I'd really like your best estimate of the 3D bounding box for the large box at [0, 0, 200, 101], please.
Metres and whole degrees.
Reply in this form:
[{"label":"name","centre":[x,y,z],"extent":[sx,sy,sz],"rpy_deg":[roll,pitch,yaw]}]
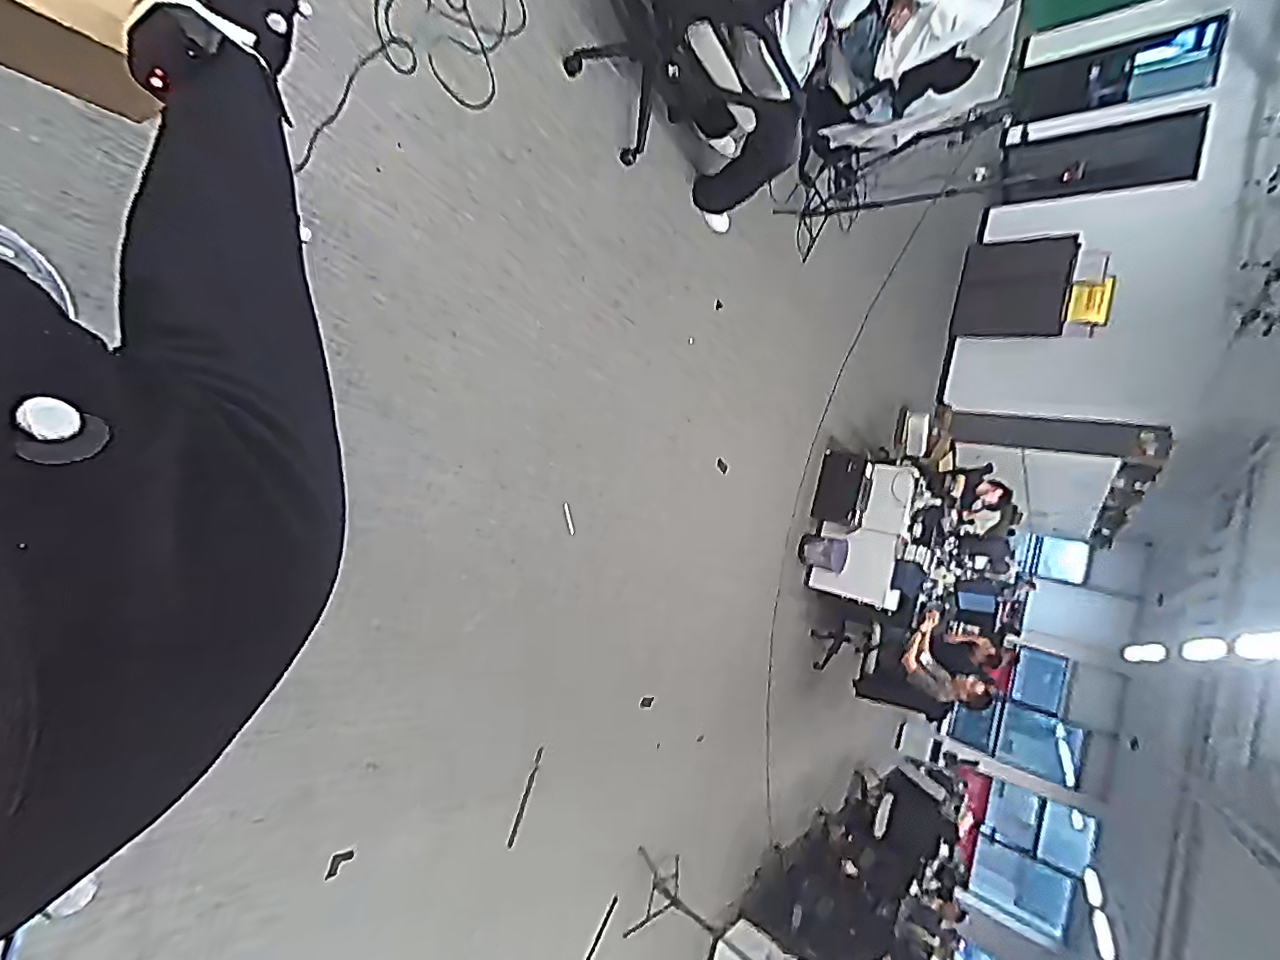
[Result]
[{"label":"large box","centre":[-0.573,-0.537,0.367],"extent":[0.408,0.320,0.320],"rpy_deg":[3,105,-51]}]
